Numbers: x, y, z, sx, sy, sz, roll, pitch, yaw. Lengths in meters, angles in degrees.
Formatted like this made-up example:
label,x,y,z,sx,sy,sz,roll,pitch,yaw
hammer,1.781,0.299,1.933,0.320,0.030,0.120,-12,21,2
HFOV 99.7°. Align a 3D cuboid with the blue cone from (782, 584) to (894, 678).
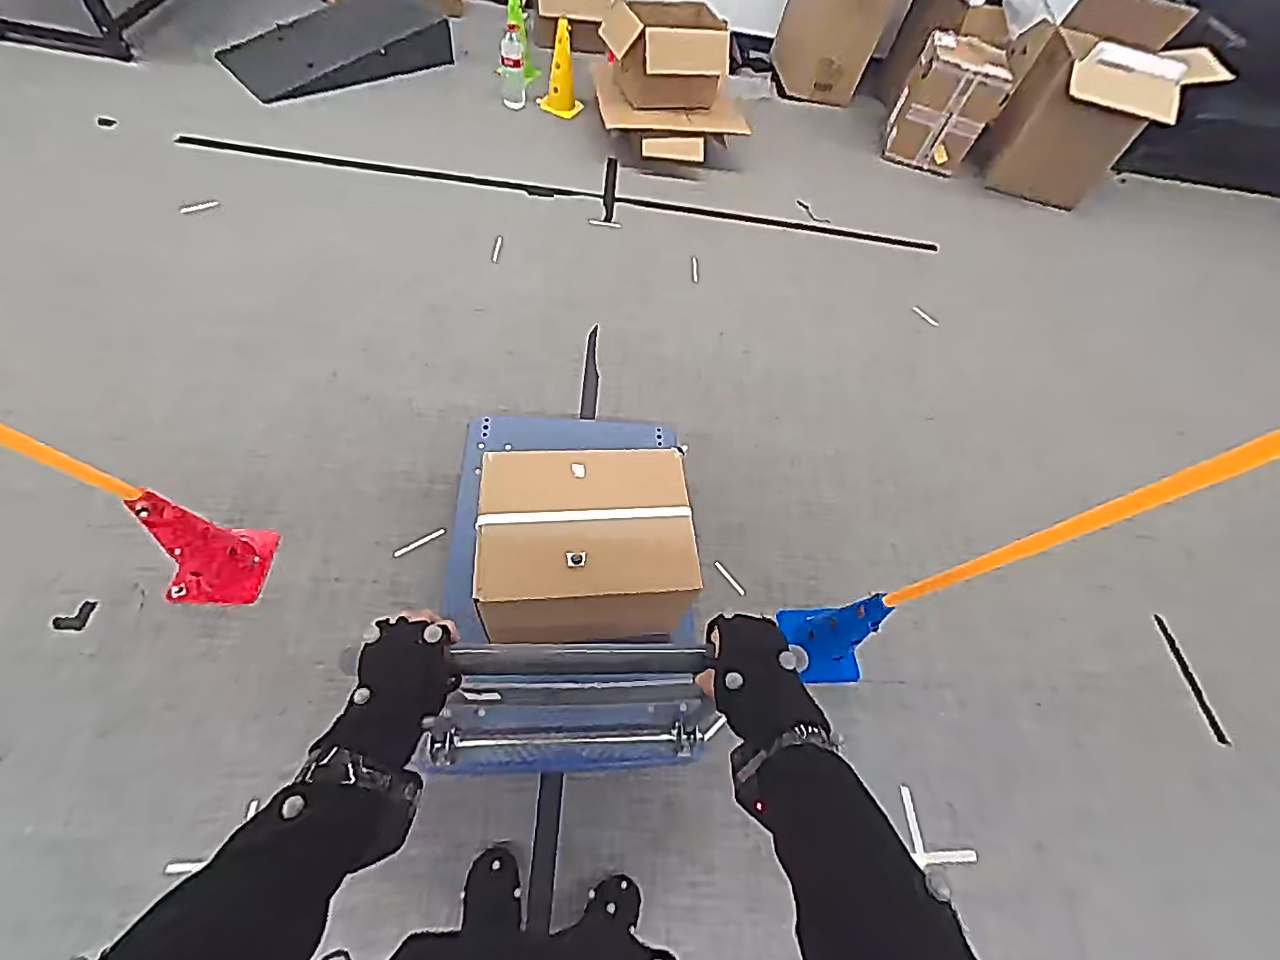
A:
label,x,y,z,sx,sy,sz,roll,pitch,yaw
blue cone,0.516,0.352,1.337,0.193,0.380,0.192,2,57,-9
